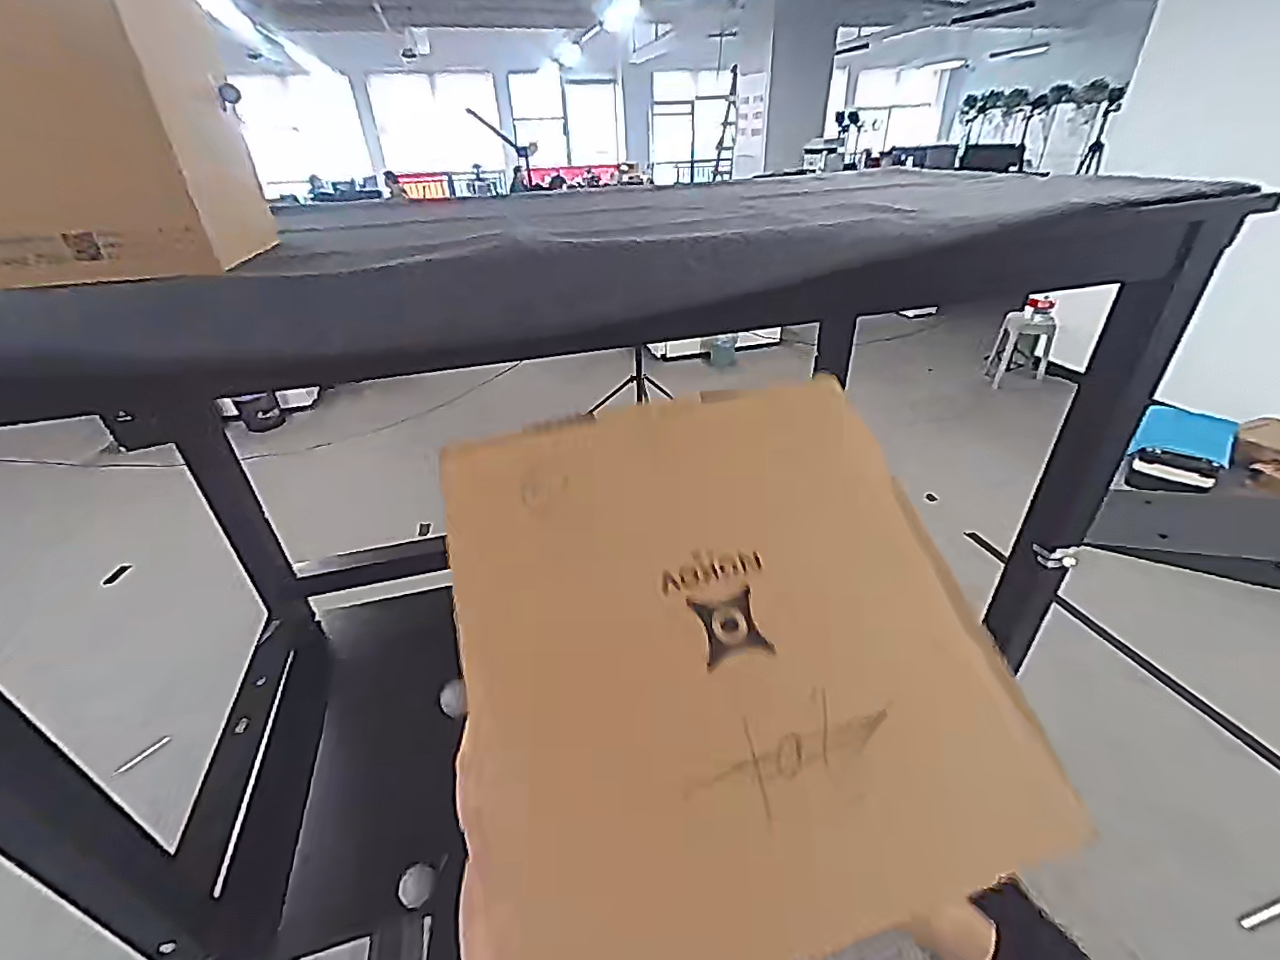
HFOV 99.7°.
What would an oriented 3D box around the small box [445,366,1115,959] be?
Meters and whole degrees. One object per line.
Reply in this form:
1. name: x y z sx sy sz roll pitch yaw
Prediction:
1. small box: 0.024 0.081 0.240 0.168 0.176 0.179 -13 63 -11
